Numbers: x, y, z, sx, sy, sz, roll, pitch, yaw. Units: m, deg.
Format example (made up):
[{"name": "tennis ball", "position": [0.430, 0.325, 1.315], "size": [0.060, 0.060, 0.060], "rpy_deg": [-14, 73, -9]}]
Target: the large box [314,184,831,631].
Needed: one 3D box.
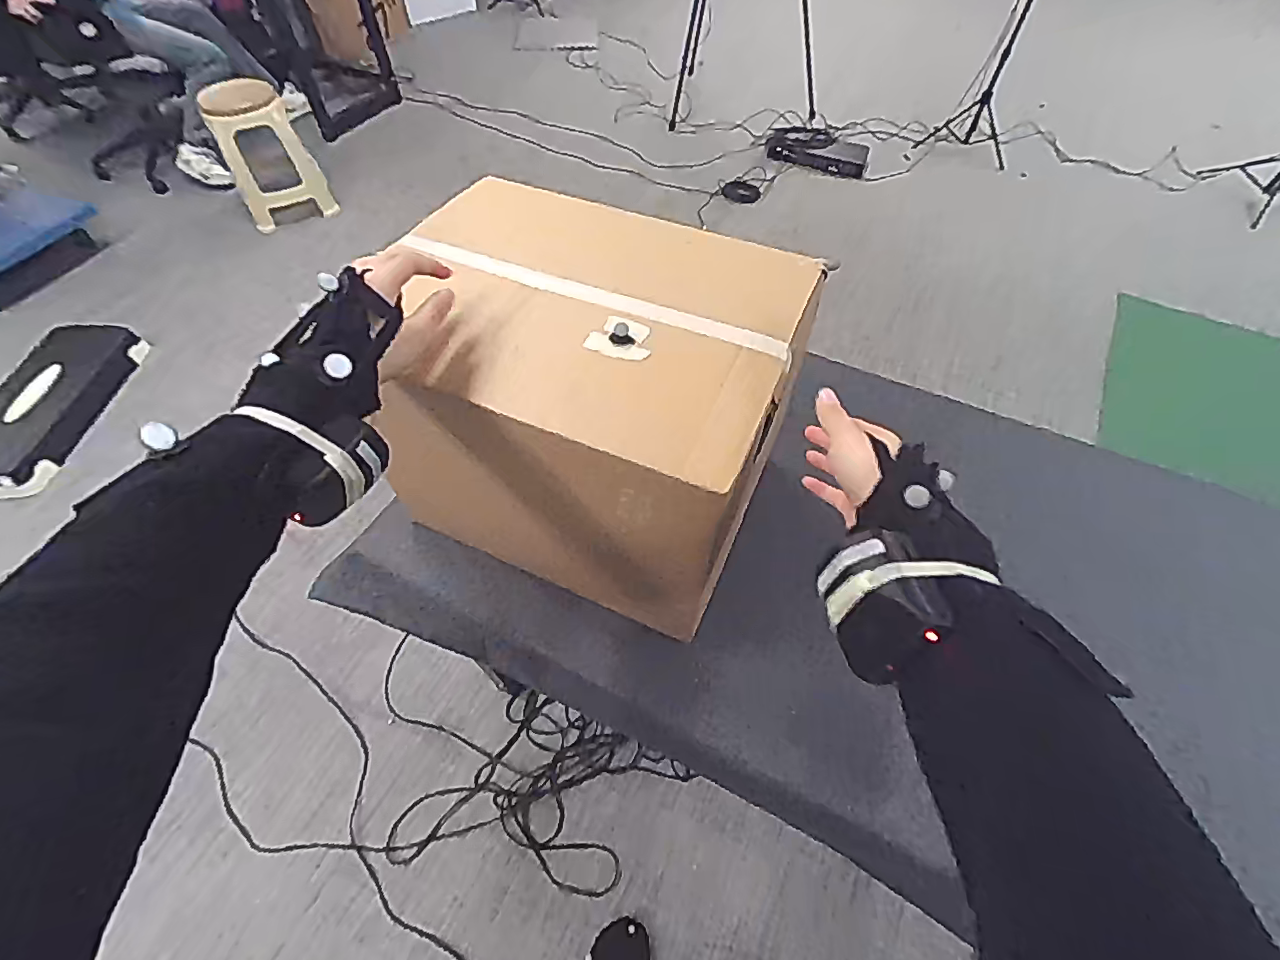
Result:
[{"name": "large box", "position": [-0.051, -0.083, 0.631], "size": [0.408, 0.320, 0.320], "rpy_deg": [21, 57, 12]}]
